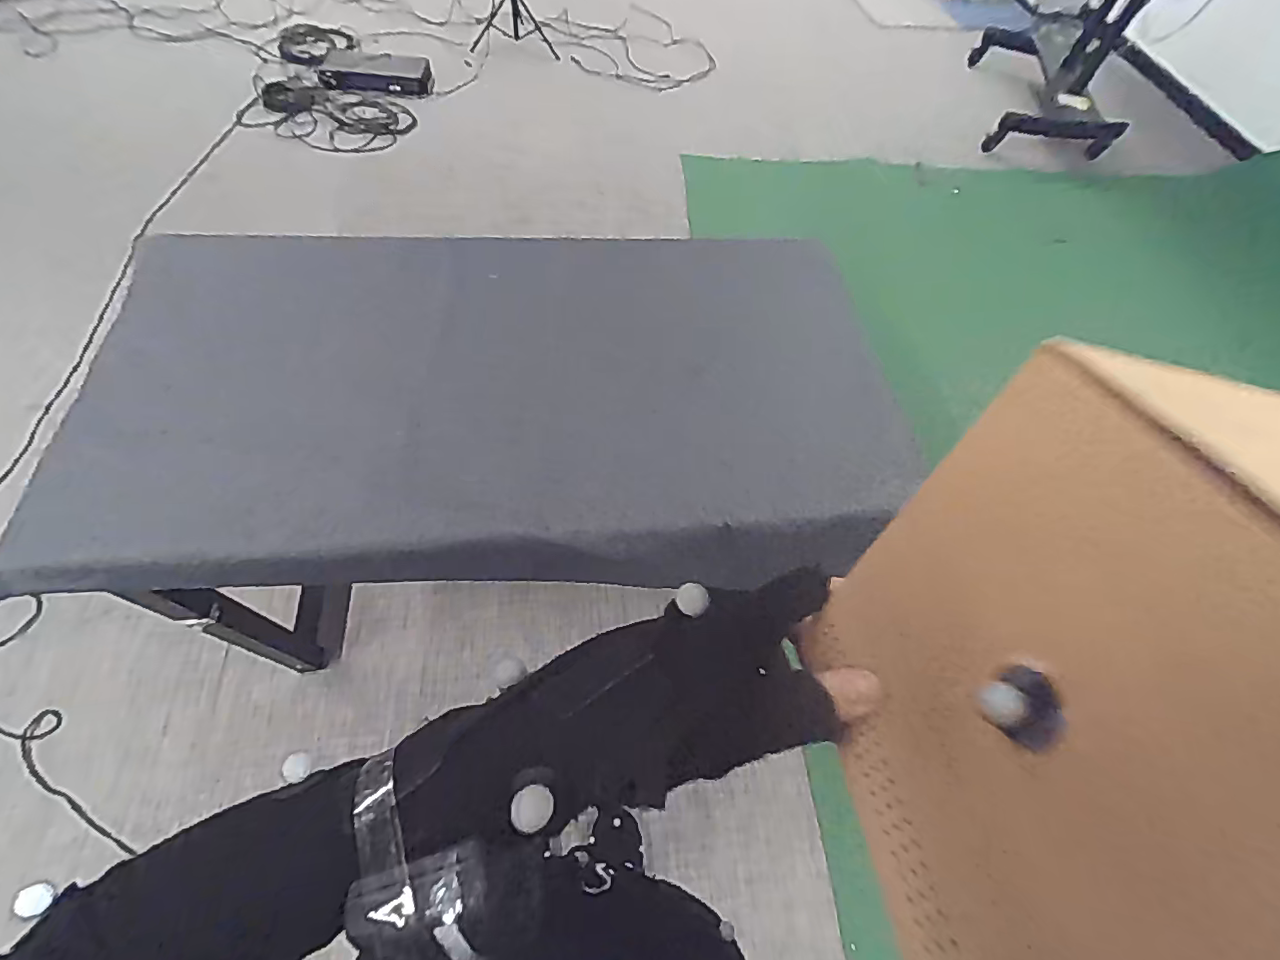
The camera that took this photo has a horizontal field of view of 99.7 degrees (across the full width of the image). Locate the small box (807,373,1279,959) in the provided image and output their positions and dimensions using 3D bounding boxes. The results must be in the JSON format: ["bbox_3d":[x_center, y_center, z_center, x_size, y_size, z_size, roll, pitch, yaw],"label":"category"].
[{"bbox_3d":[0.182,0.096,0.173,0.168,0.176,0.179,9,41,-13],"label":"small box"}]
